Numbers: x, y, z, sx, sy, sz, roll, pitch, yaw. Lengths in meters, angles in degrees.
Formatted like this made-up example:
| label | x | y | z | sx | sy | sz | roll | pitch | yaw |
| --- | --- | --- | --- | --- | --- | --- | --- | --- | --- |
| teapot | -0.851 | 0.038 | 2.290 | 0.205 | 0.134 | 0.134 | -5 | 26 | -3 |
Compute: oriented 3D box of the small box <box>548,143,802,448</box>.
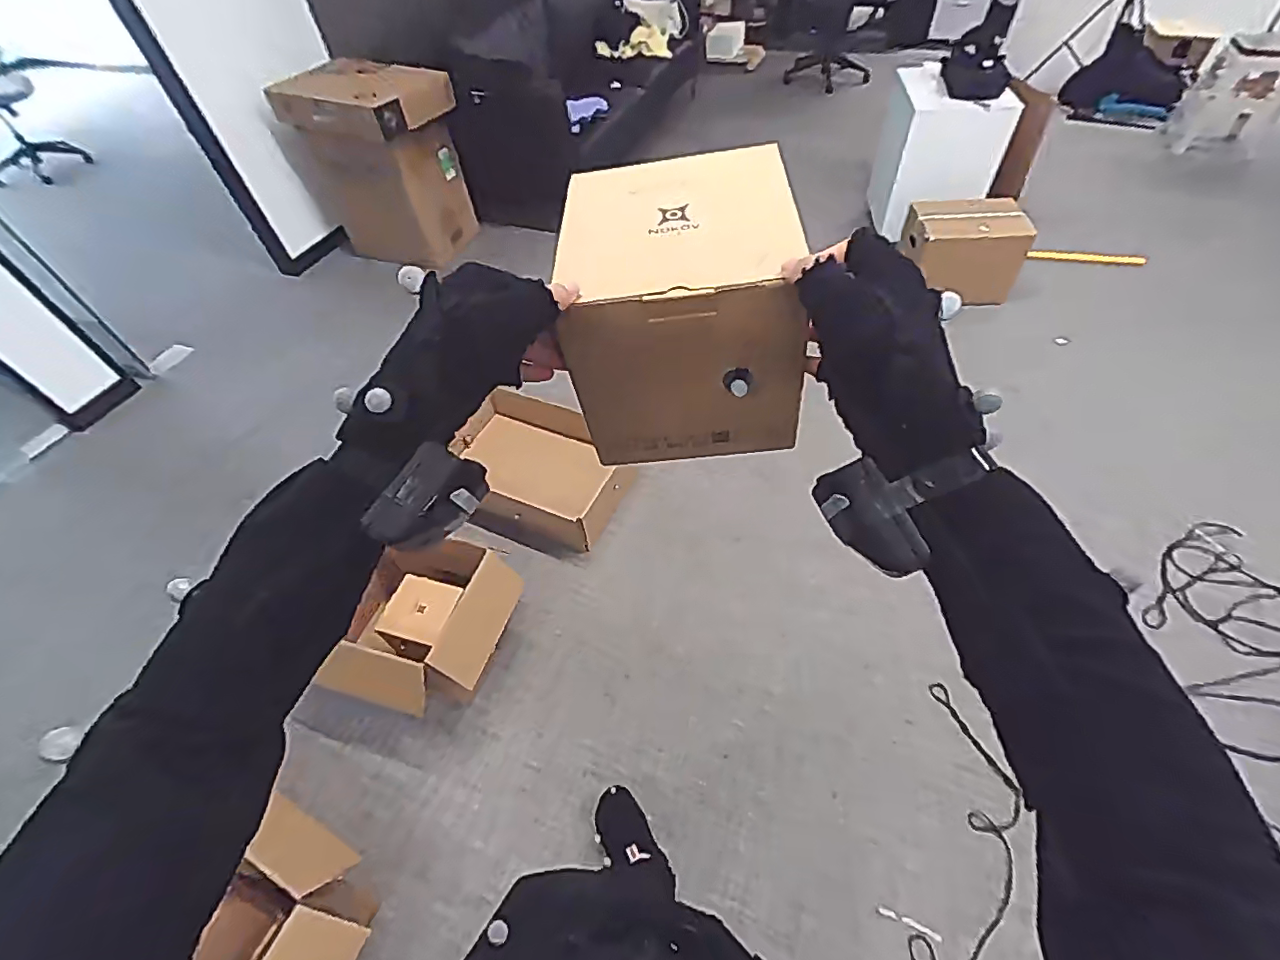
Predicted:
| label | x | y | z | sx | sy | sz | roll | pitch | yaw |
| --- | --- | --- | --- | --- | --- | --- | --- | --- | --- |
| small box | 0.033 | -0.139 | 0.448 | 0.168 | 0.176 | 0.179 | -5 | 54 | 7 |
